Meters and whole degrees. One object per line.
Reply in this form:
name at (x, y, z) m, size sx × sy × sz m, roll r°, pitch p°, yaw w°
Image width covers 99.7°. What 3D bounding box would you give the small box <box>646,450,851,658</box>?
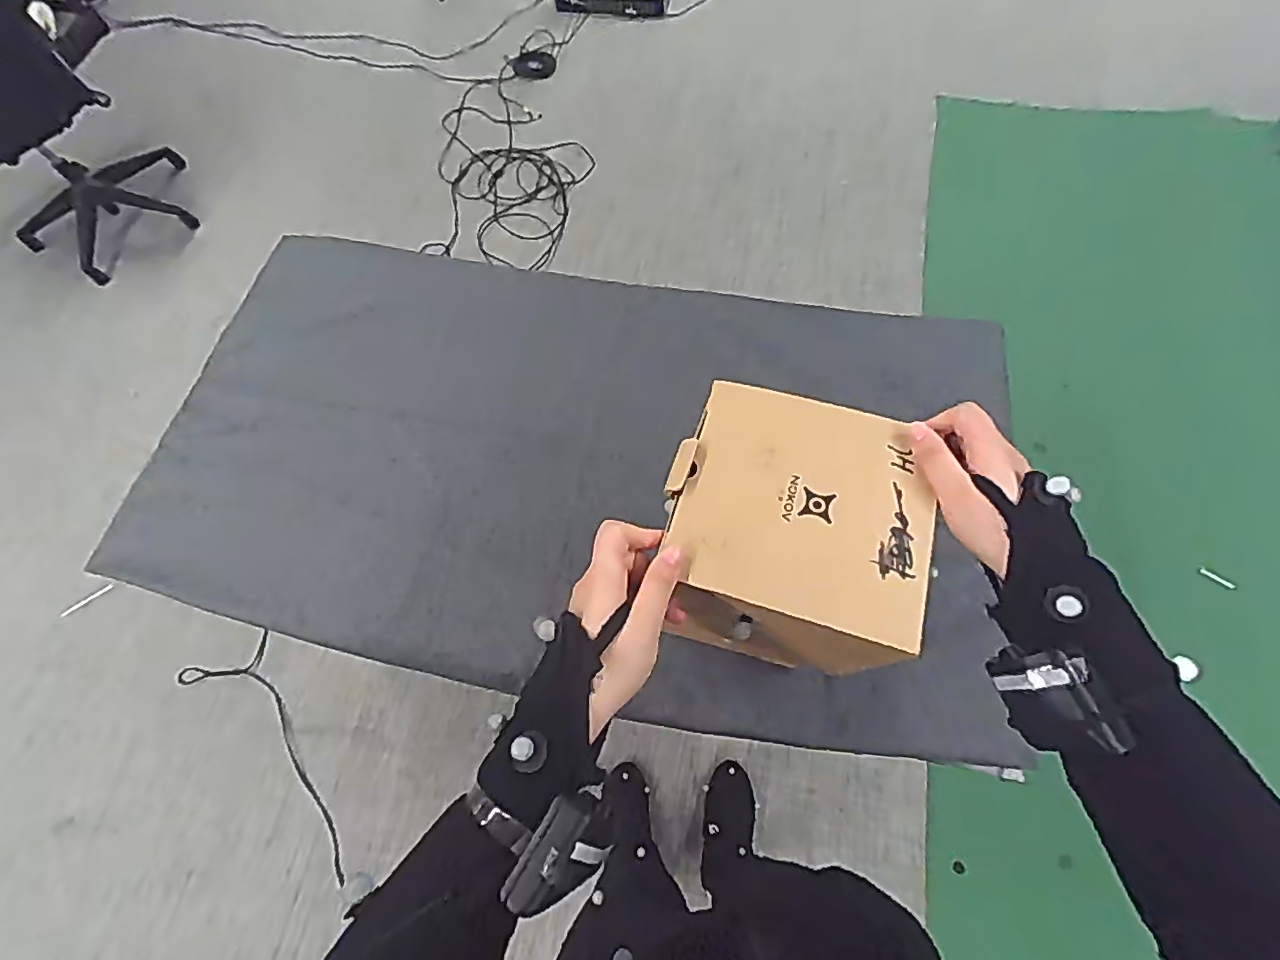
small box at (0.113, 0.091, 0.604) m, size 0.179 × 0.176 × 0.168 m, roll 14°, pitch 68°, yaw 8°
